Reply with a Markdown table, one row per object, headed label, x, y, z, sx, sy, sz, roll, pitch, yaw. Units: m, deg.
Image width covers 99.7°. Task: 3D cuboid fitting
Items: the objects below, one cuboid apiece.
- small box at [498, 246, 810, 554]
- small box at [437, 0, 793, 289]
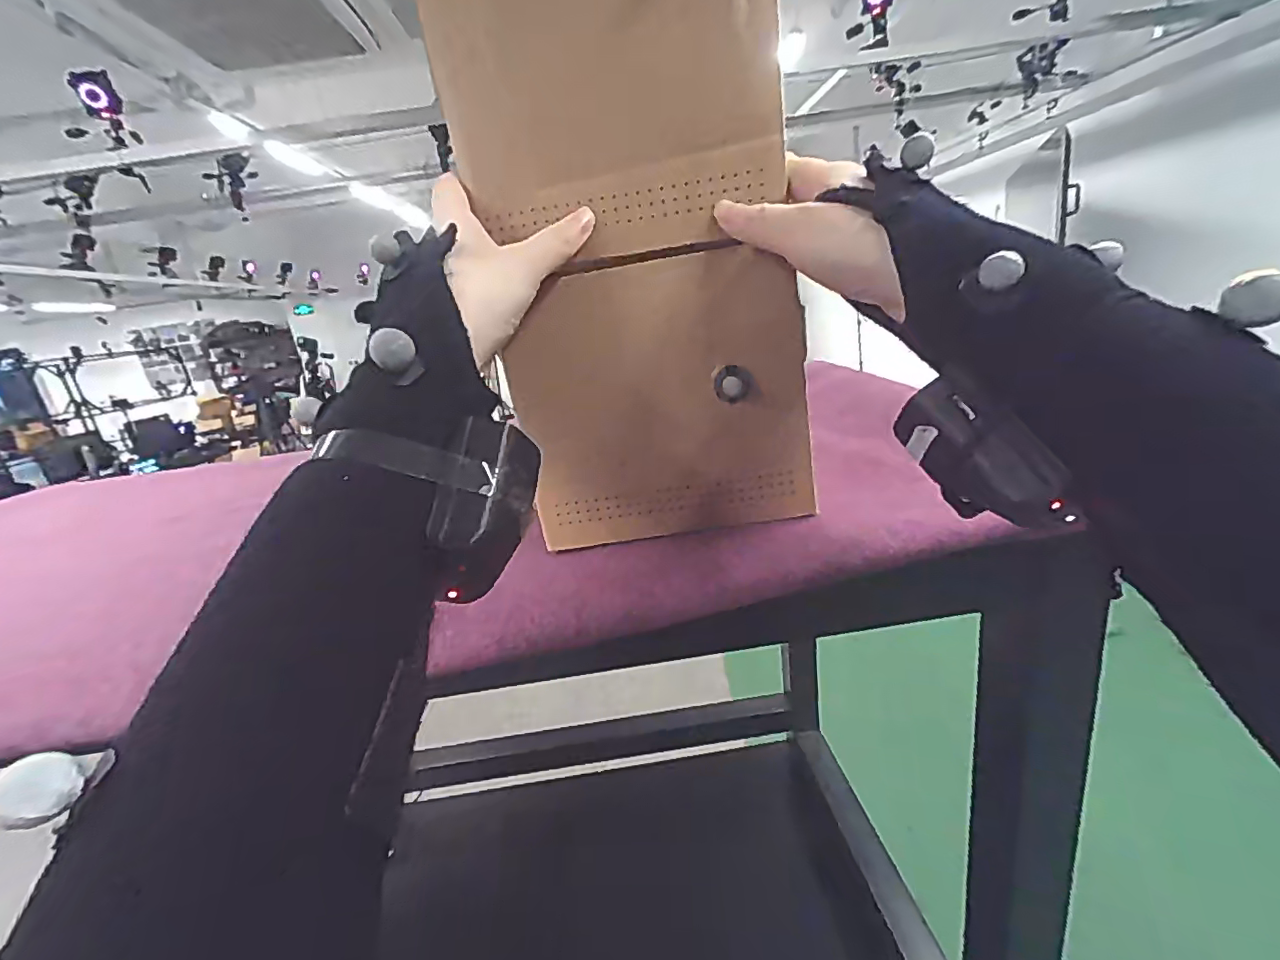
| label | x | y | z | sx | sy | sz | roll | pitch | yaw |
| --- | --- | --- | --- | --- | --- | --- | --- | --- | --- |
| small box | 0.020 | -0.060 | 0.402 | 0.179 | 0.176 | 0.168 | -10 | 15 | 5 |
| small box | -0.006 | -0.220 | 0.347 | 0.179 | 0.176 | 0.168 | -5 | 20 | 6 |
